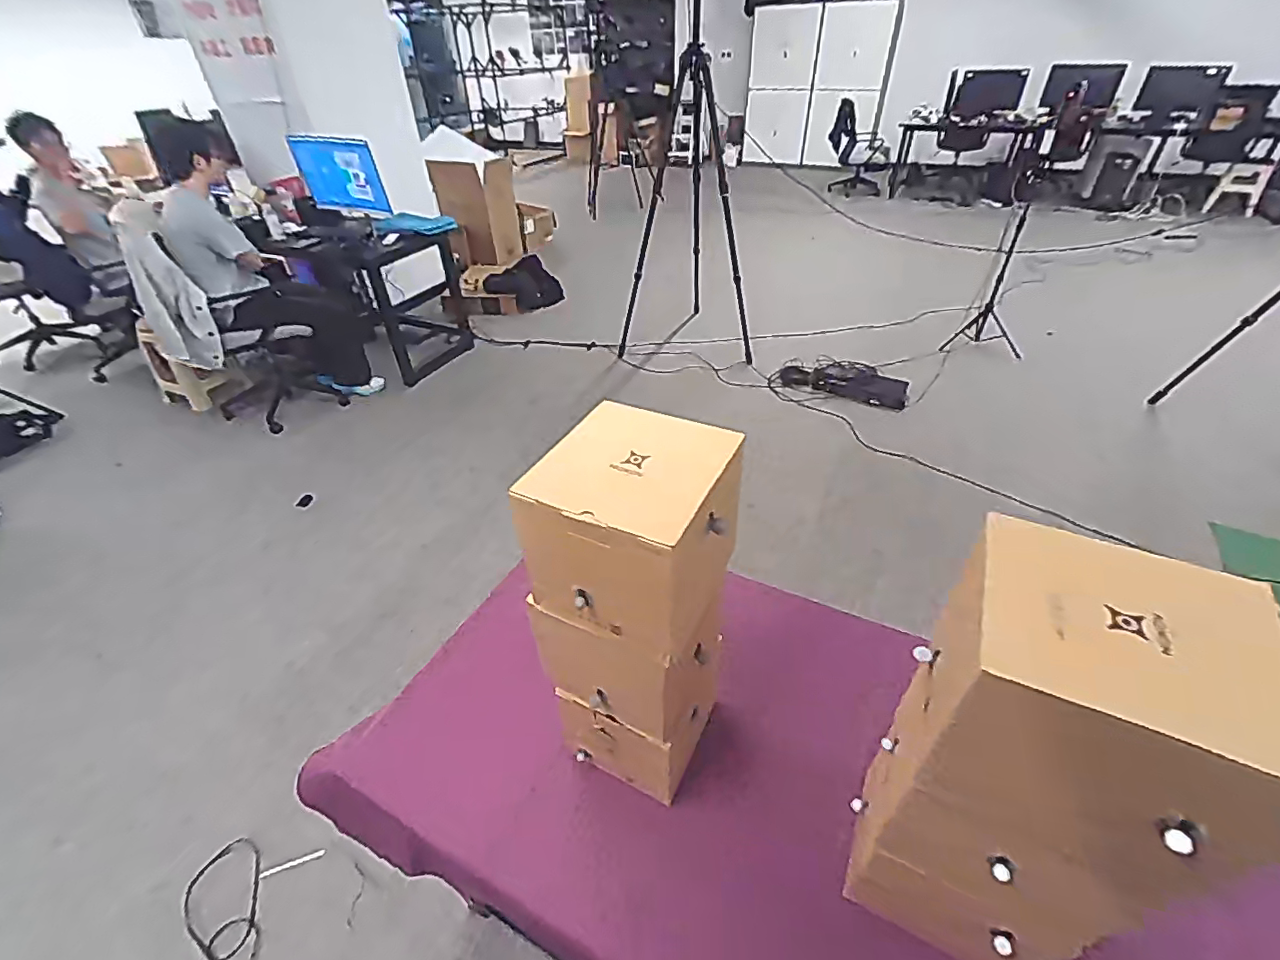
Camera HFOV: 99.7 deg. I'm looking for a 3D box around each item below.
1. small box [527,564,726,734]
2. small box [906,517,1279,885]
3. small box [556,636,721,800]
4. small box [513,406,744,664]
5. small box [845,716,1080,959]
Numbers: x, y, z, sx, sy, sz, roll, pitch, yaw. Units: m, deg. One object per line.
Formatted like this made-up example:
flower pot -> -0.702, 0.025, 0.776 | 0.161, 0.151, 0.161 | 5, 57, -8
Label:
small box -> -0.010, 0.179, 0.666 | 0.179, 0.176, 0.168 | 18, 43, 23
small box -> 0.325, 0.161, 0.406 | 0.179, 0.176, 0.168 | 17, 42, 24
small box -> 0.006, 0.309, 0.765 | 0.168, 0.176, 0.179 | 17, 42, 22
small box -> -0.005, 0.051, 0.563 | 0.168, 0.176, 0.179 | 17, 43, 22
small box -> 0.354, 0.414, 0.614 | 0.179, 0.176, 0.168 | 18, 42, 23
